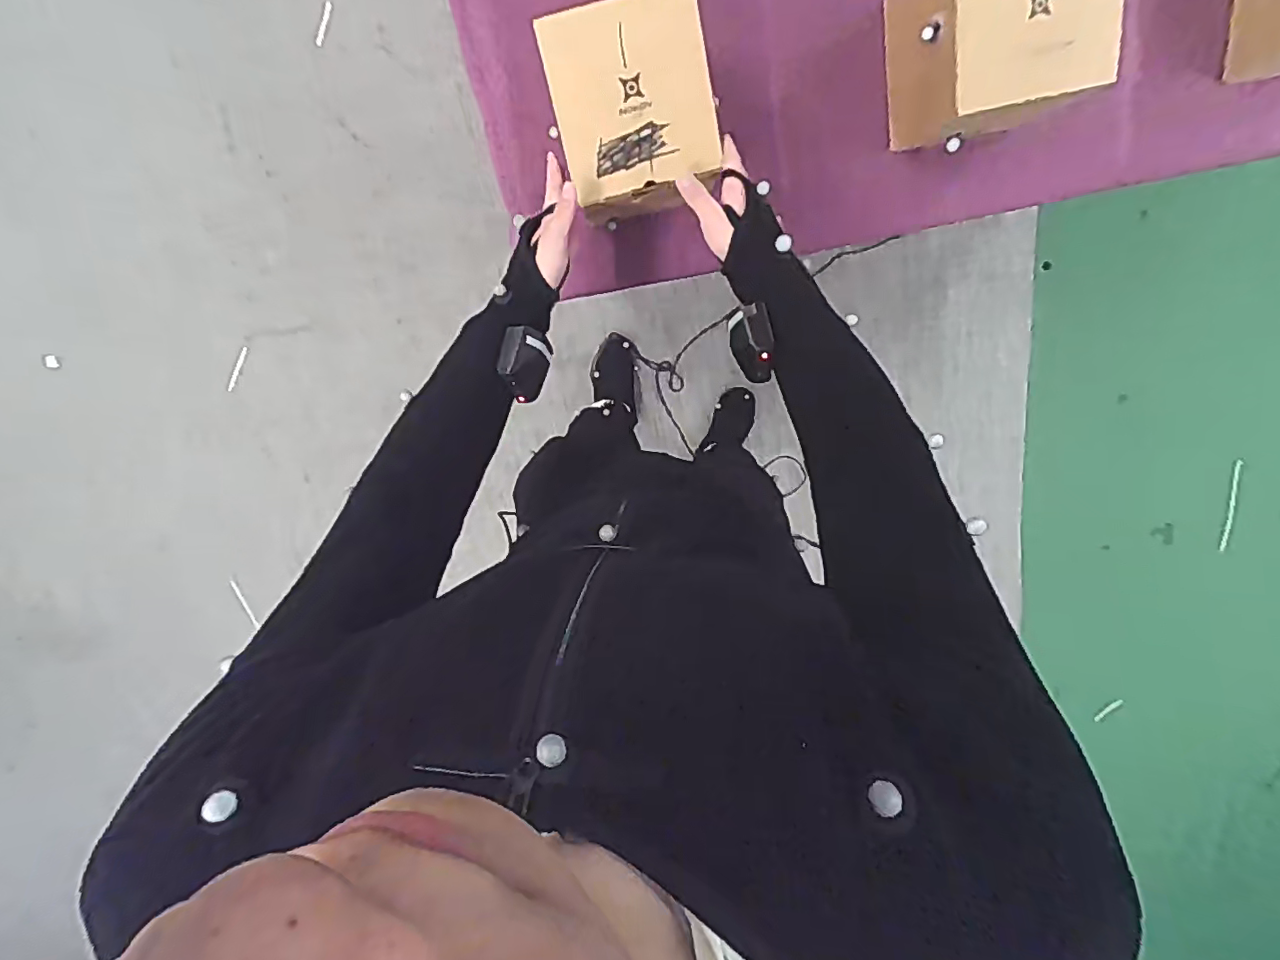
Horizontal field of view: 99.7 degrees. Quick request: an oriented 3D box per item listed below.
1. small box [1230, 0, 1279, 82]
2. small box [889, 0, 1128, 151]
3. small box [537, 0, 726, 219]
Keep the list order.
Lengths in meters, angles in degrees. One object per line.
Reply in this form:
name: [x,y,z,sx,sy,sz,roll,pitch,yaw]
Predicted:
small box: [0.821,-0.580,0.592,0.168,0.176,0.179,-8,107,3]
small box: [0.399,-0.503,0.611,0.168,0.176,0.179,-10,109,3]
small box: [-0.006,-0.417,0.628,0.168,0.176,0.179,-13,108,3]
